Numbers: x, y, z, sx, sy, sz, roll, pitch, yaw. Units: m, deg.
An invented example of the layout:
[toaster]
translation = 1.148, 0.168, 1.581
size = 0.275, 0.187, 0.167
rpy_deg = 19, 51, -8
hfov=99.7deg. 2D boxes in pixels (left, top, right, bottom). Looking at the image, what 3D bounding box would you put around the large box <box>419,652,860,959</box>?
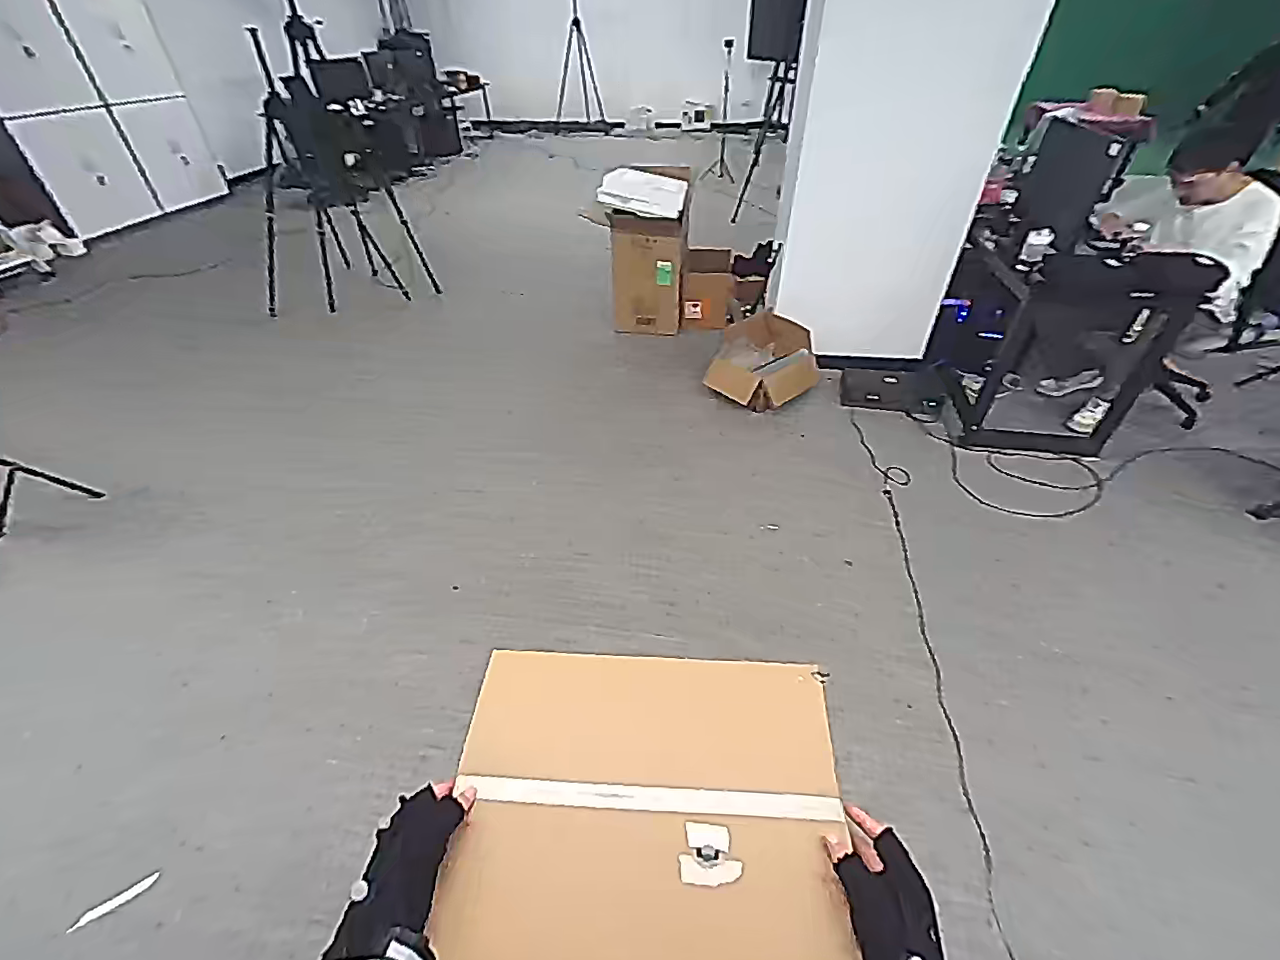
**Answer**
[large box]
translation = 0.007, 0.439, 0.684
size = 0.408, 0.320, 0.320
rpy_deg = 1, 46, 4
